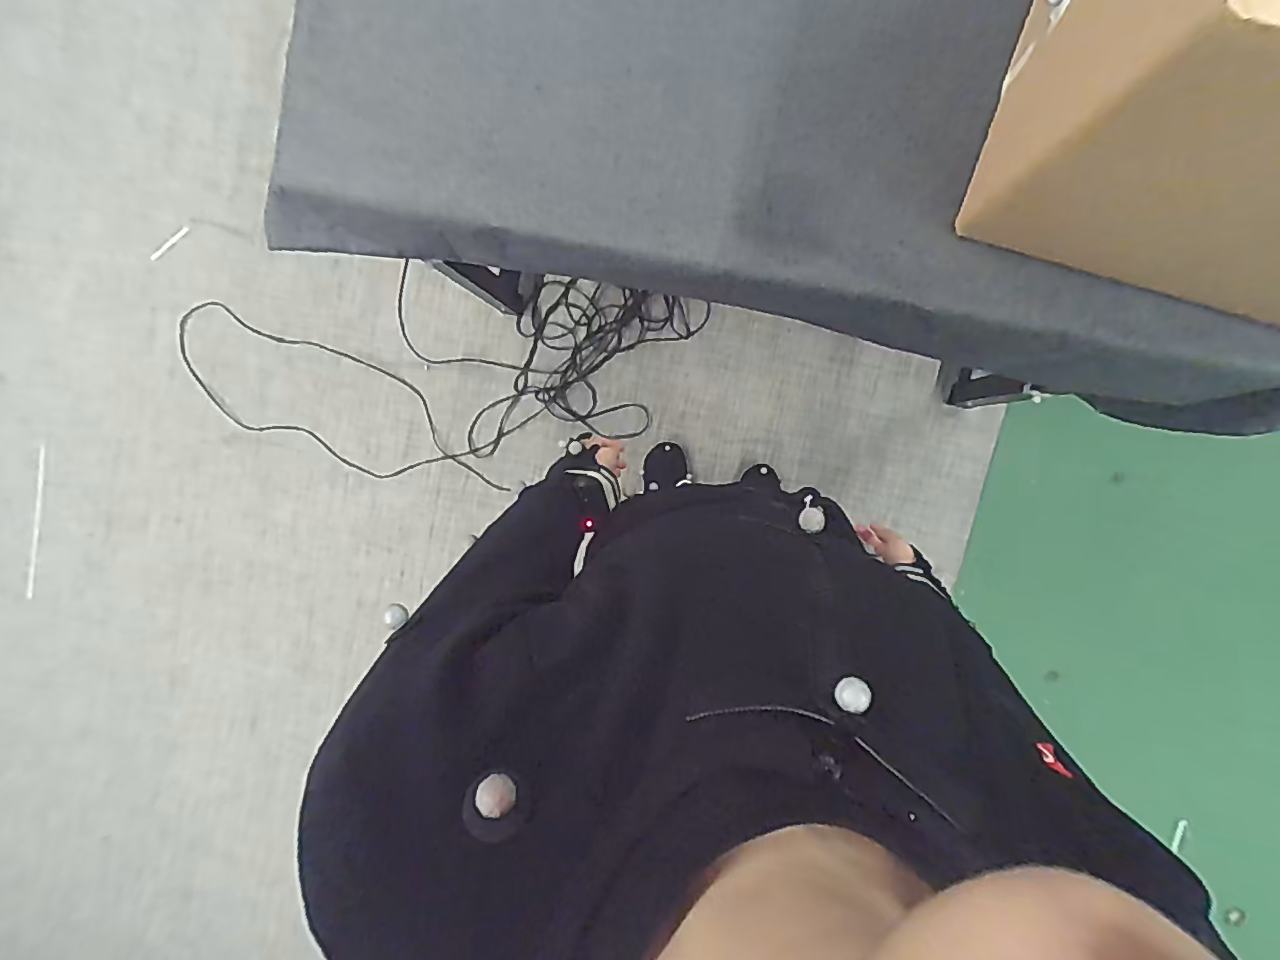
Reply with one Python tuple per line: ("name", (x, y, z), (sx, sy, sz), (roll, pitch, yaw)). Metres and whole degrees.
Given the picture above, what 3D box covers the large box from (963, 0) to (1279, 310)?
("large box", (0.560, -0.352, 0.413), (0.408, 0.320, 0.320), (18, 96, 4))
